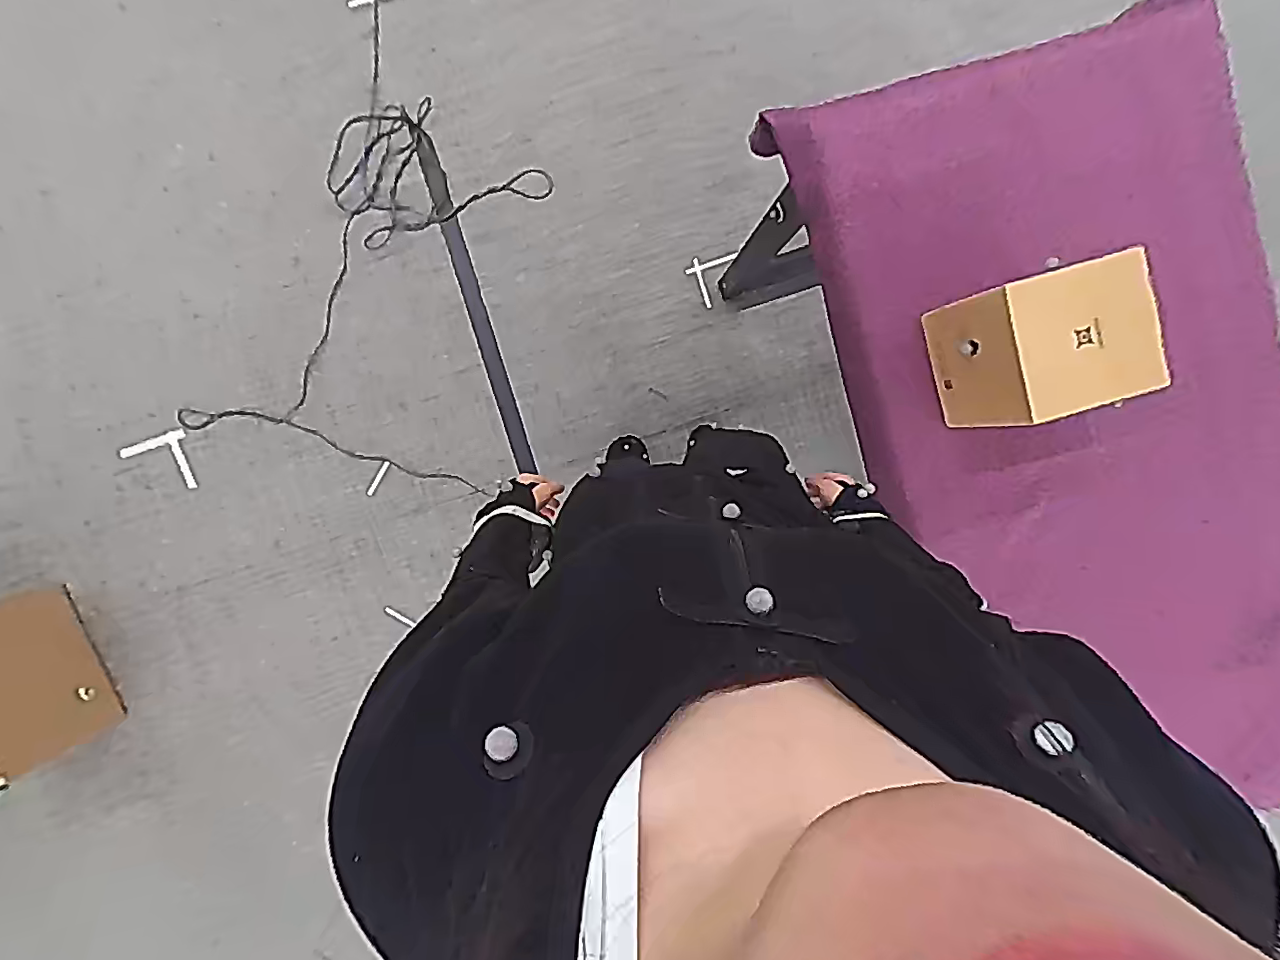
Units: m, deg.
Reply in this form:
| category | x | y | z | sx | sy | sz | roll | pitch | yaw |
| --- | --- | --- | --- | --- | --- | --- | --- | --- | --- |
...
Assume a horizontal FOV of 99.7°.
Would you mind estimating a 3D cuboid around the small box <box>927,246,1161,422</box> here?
| category | x | y | z | sx | sy | sz | roll | pitch | yaw |
| --- | --- | --- | --- | --- | --- | --- | --- | --- | --- |
| small box | 0.507 | -0.177 | 0.709 | 0.179 | 0.176 | 0.168 | -16 | 95 | -3 |
